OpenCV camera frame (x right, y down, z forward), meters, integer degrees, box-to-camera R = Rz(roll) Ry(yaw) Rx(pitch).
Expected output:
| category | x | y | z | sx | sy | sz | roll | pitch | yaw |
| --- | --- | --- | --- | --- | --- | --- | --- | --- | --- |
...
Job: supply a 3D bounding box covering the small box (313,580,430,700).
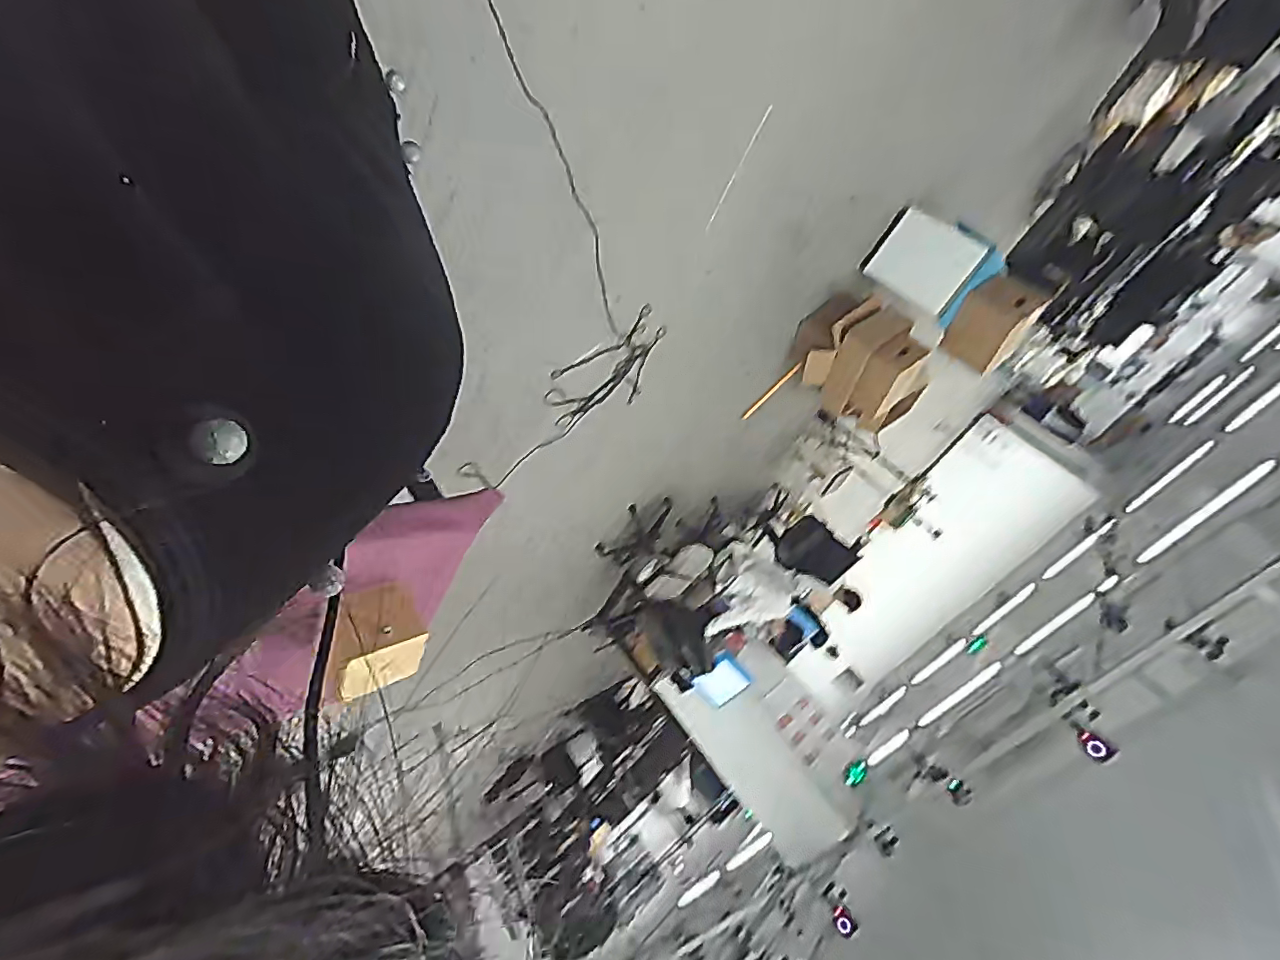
| category | x | y | z | sx | sy | sz | roll | pitch | yaw |
| --- | --- | --- | --- | --- | --- | --- | --- | --- | --- |
| small box | -0.609 | 0.352 | 1.225 | 0.179 | 0.176 | 0.168 | -11 | 140 | -47 |
